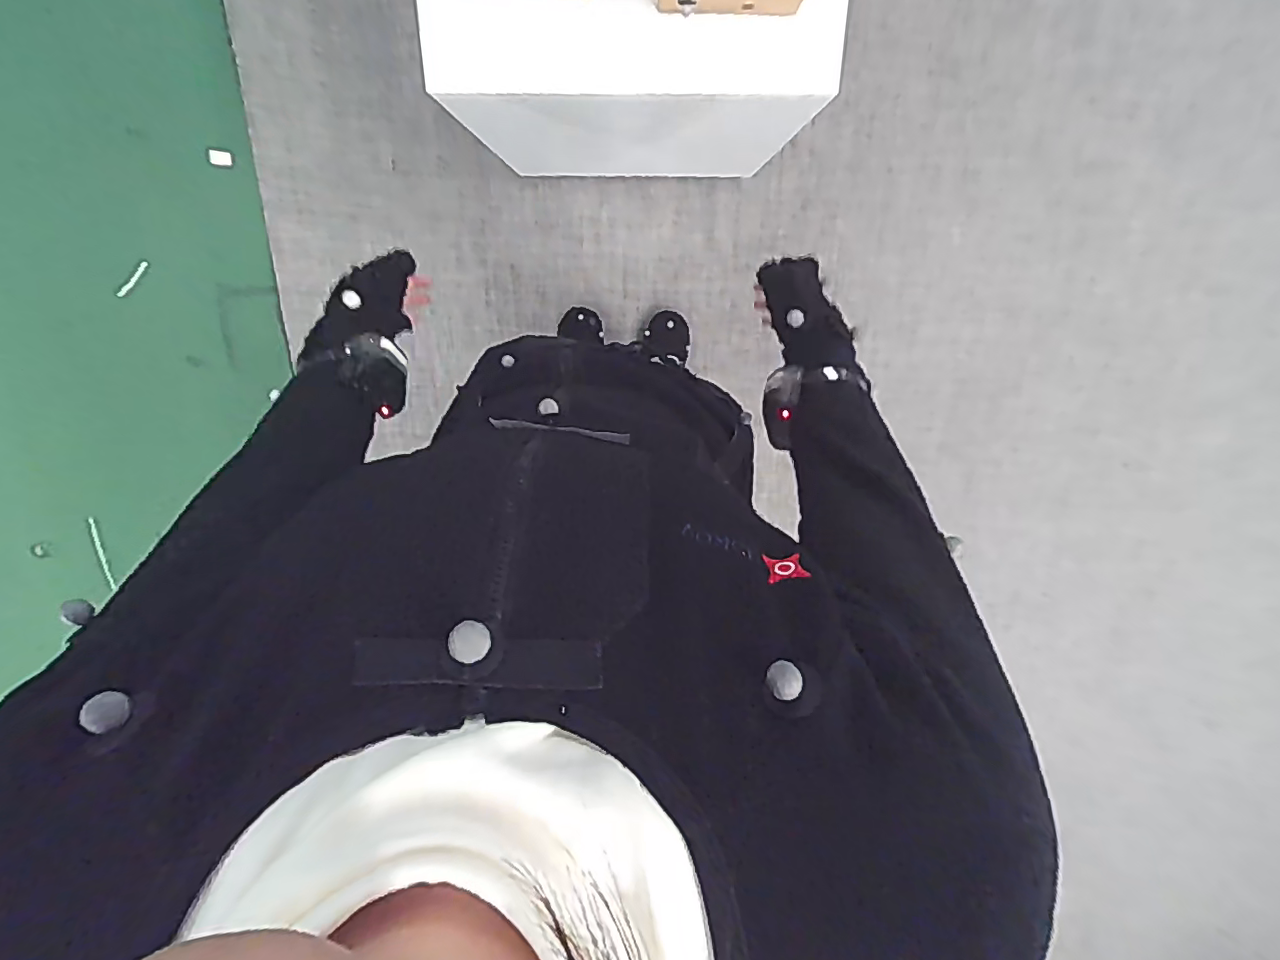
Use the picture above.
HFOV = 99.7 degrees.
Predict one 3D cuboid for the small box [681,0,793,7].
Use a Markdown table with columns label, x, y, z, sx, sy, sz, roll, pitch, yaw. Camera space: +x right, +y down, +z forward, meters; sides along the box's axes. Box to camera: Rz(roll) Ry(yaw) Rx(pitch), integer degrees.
| label | x | y | z | sx | sy | sz | roll | pitch | yaw |
| --- | --- | --- | --- | --- | --- | --- | --- | --- | --- |
| small box | 0.102 | -0.609 | 0.533 | 0.168 | 0.176 | 0.179 | 1 | 109 | 0 |
